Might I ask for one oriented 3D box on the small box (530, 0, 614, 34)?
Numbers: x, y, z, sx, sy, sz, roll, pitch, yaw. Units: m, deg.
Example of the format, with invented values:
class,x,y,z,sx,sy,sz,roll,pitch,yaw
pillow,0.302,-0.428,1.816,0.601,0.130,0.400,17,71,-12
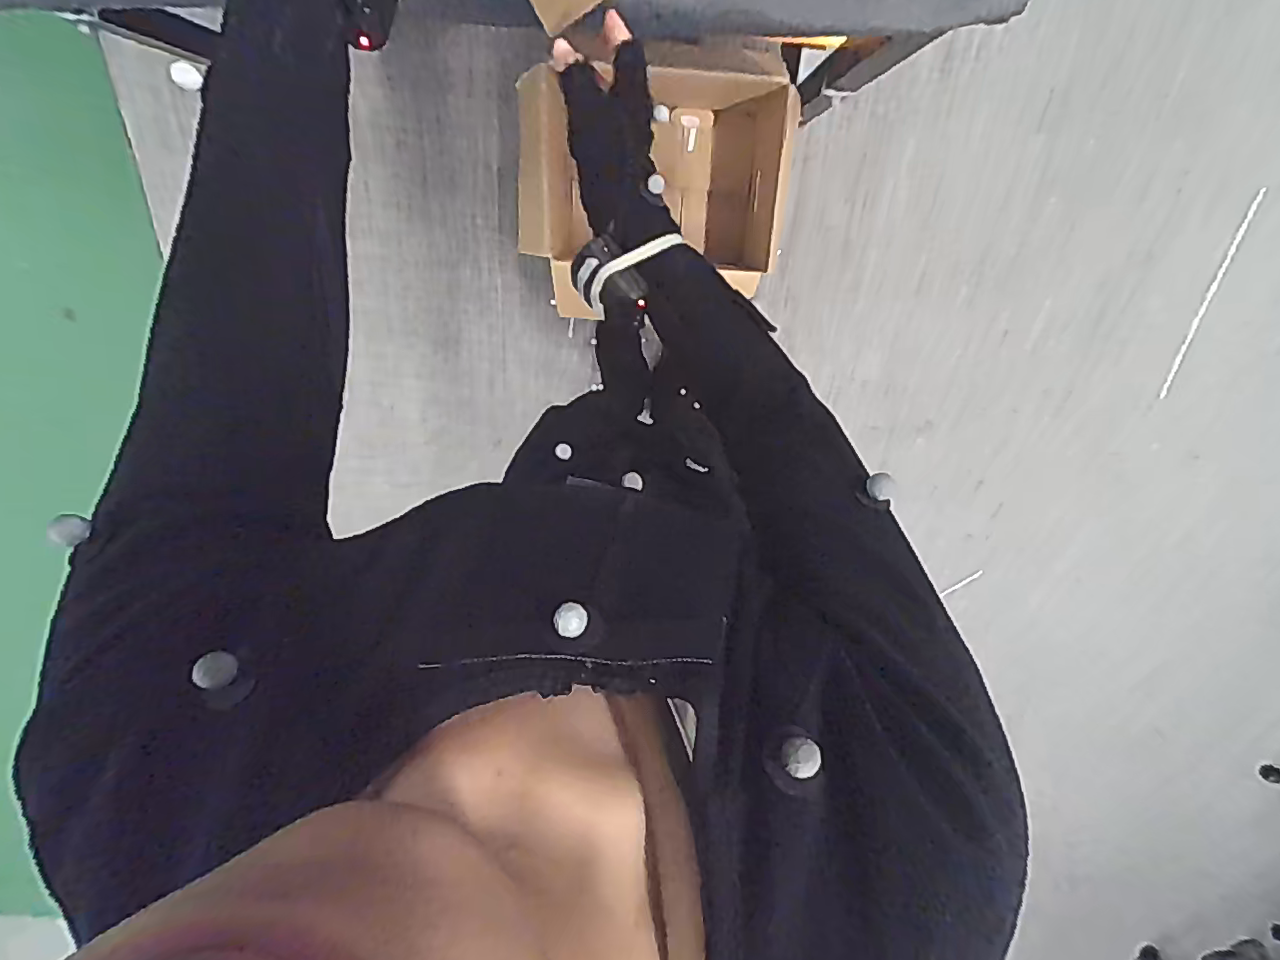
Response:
class,x,y,z,sx,sy,sz,roll,pitch,yaw
small box,-0.048,-0.490,0.402,0.179,0.176,0.168,-26,111,13
